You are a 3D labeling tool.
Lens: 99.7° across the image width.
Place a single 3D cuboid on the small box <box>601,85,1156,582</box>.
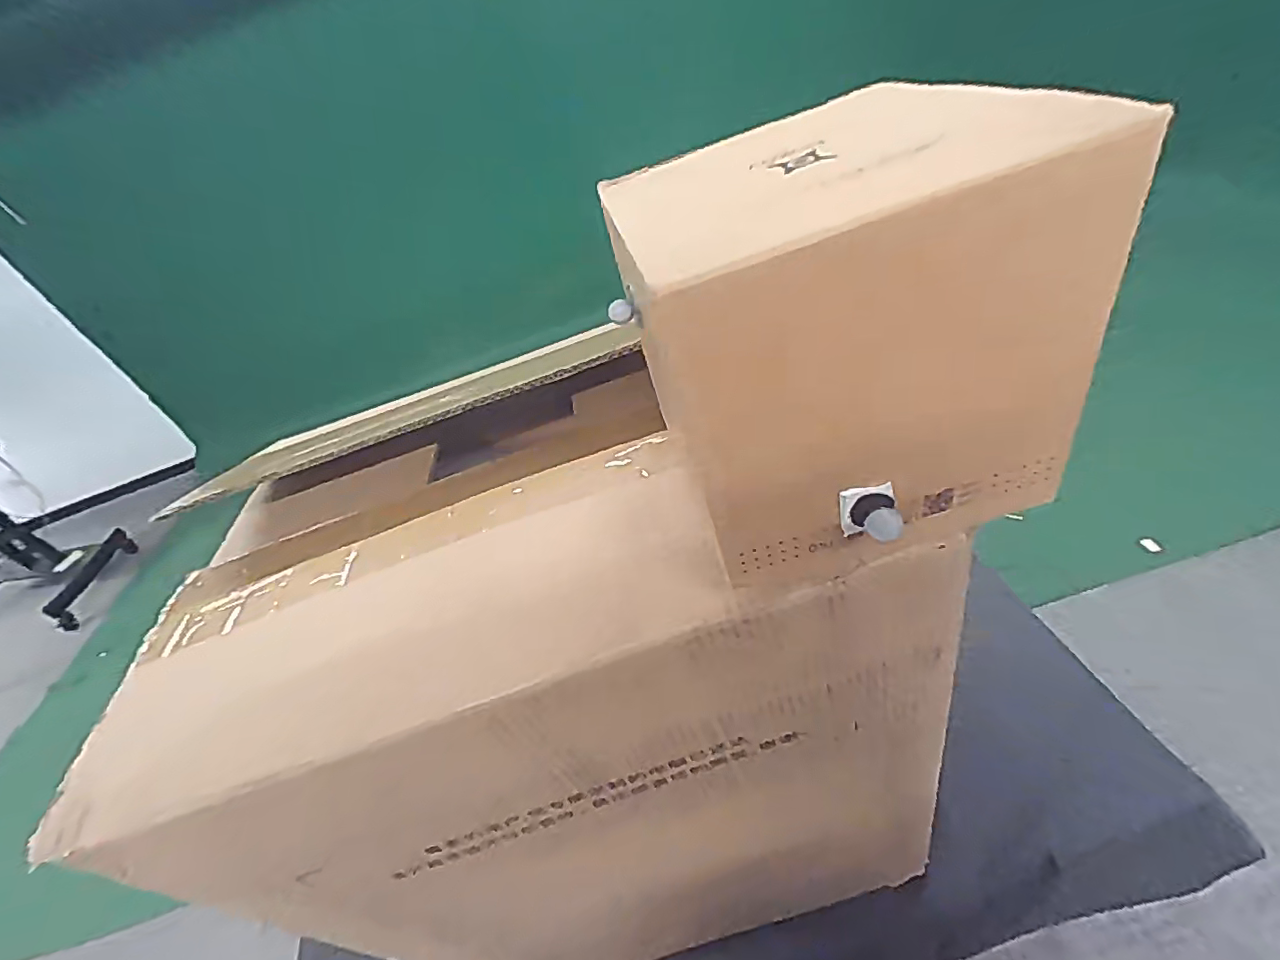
[{"bbox_3d":[0.091,-0.080,0.286,0.168,0.176,0.179,-20,40,2],"label":"small box"}]
